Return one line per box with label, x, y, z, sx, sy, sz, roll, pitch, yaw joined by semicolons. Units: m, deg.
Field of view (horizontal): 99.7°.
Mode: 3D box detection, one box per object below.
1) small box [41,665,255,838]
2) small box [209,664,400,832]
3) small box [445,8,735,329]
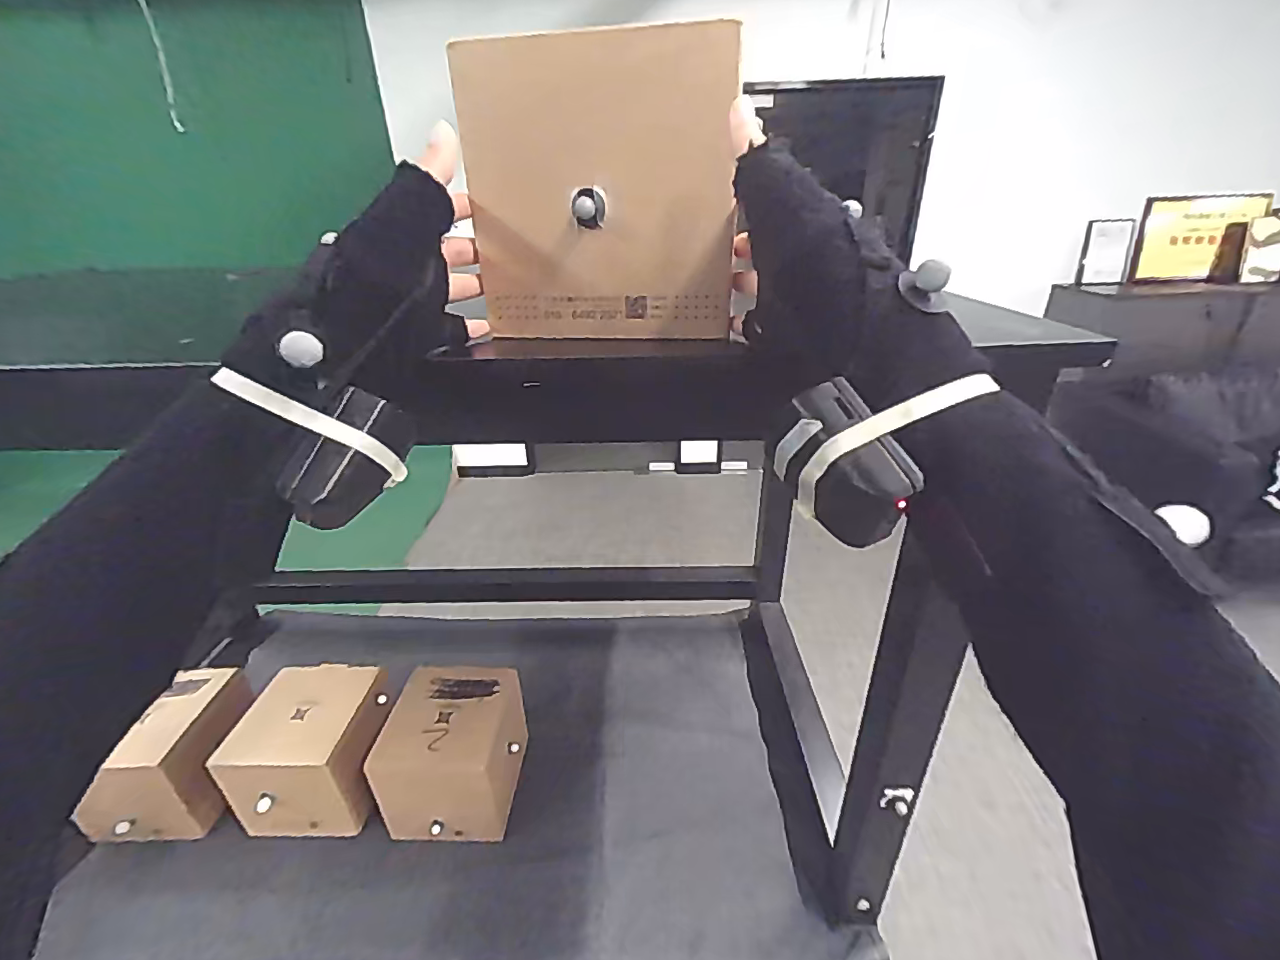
small box;-0.719;0.411;0.829;0.168;0.176;0.179;-2;27;-1
small box;-0.492;0.408;0.829;0.168;0.176;0.179;0;26;1
small box;-0.015;-0.211;0.402;0.168;0.176;0.179;3;27;8
